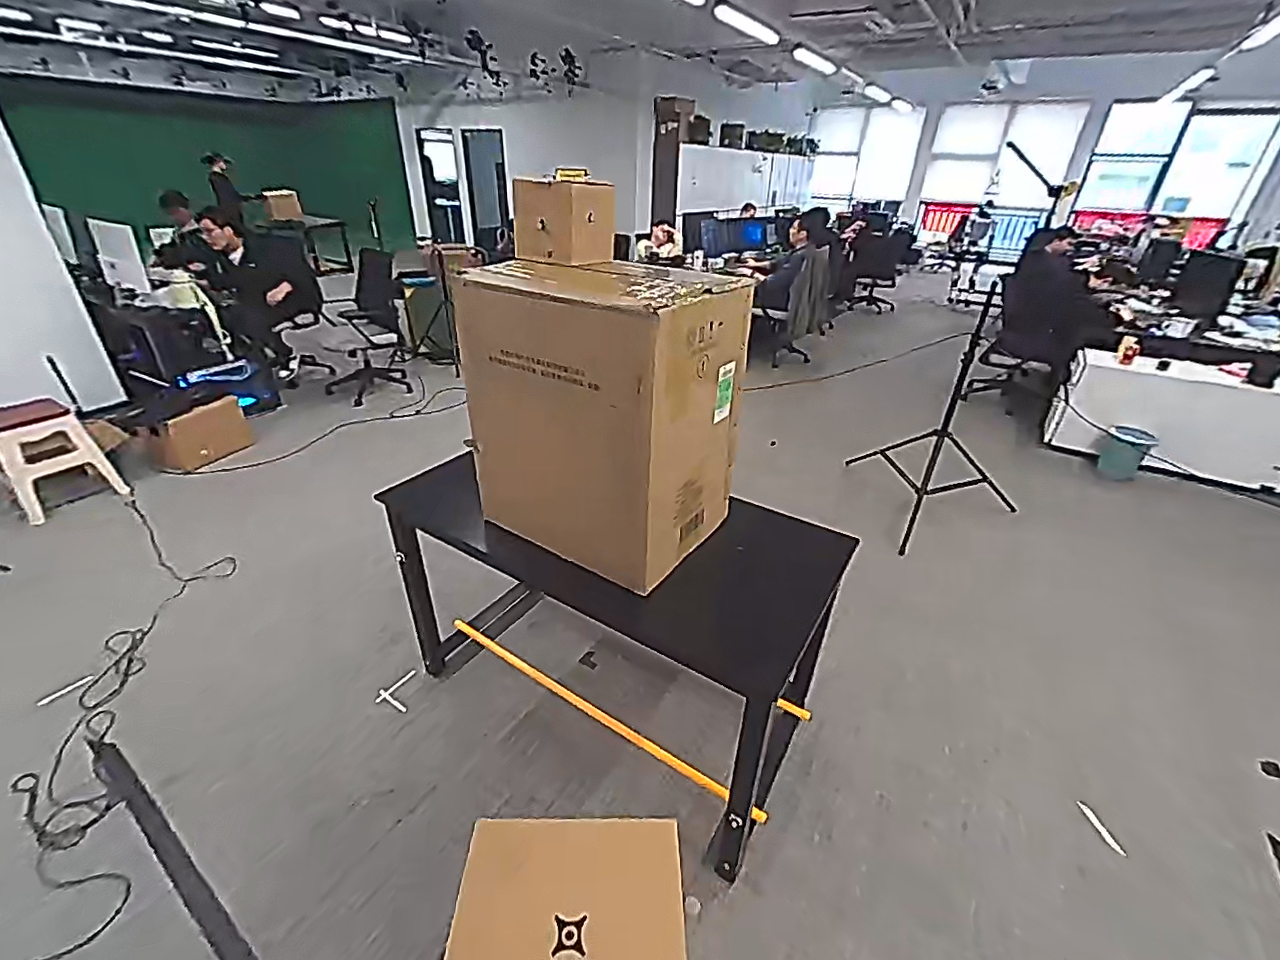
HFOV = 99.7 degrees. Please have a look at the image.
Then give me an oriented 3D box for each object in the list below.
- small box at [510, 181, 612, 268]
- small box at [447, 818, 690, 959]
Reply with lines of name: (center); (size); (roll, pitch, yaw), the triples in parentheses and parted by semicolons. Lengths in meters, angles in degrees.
small box: (-0.176, -0.592, 1.250); (0.168, 0.176, 0.179); (18, 32, 24)
small box: (-0.050, 0.388, 0.404); (0.168, 0.176, 0.179); (1, 30, -2)
